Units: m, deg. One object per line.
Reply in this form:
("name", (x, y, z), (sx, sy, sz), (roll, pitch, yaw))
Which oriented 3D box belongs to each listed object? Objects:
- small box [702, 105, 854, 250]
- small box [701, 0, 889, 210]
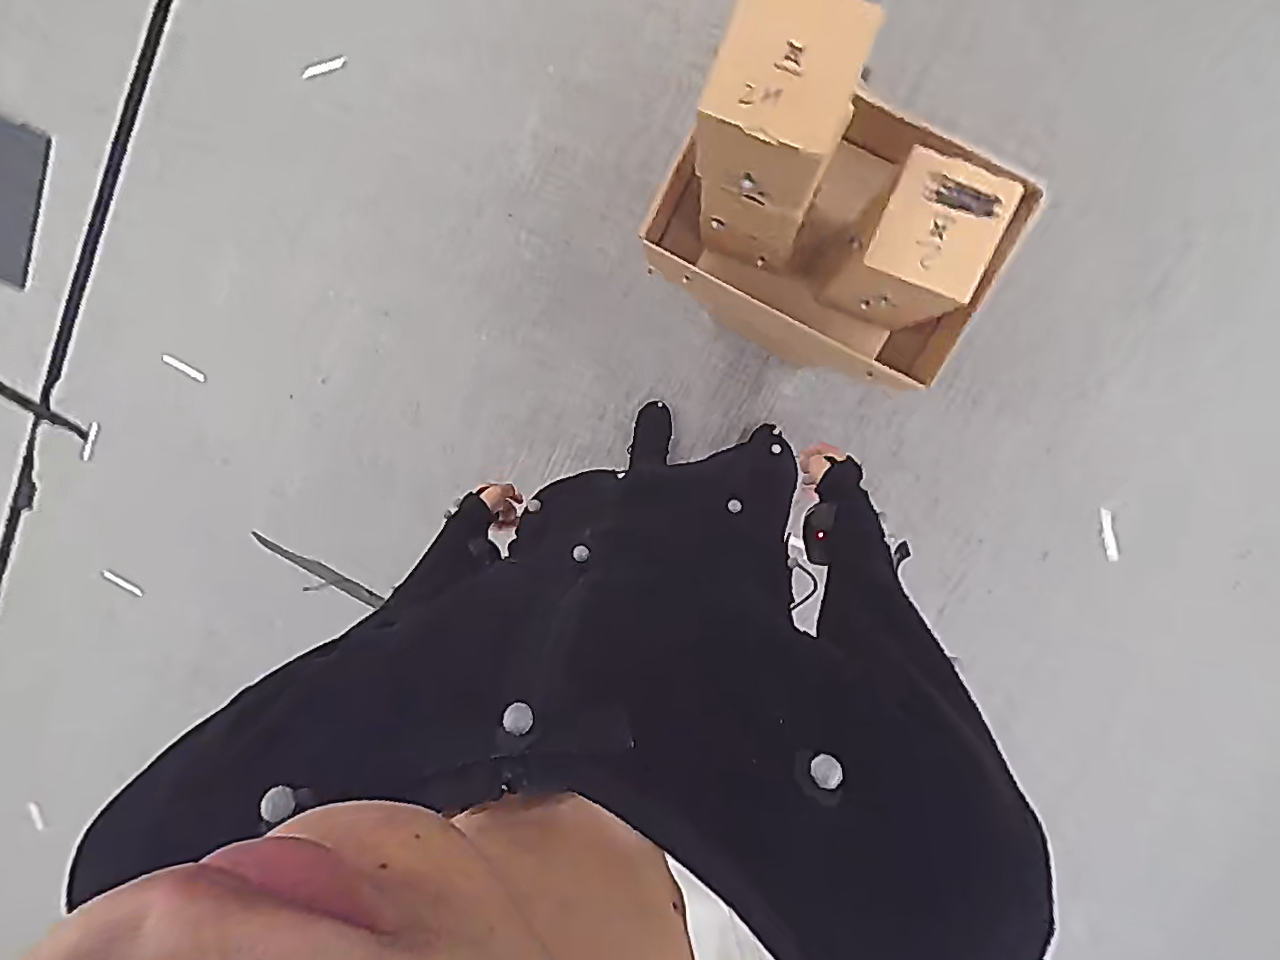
("small box", (0.211, -0.502, 0.870), (0.168, 0.176, 0.179), (25, 98, 2))
("small box", (0.185, -0.493, 0.707), (0.168, 0.176, 0.179), (24, 98, 3))
